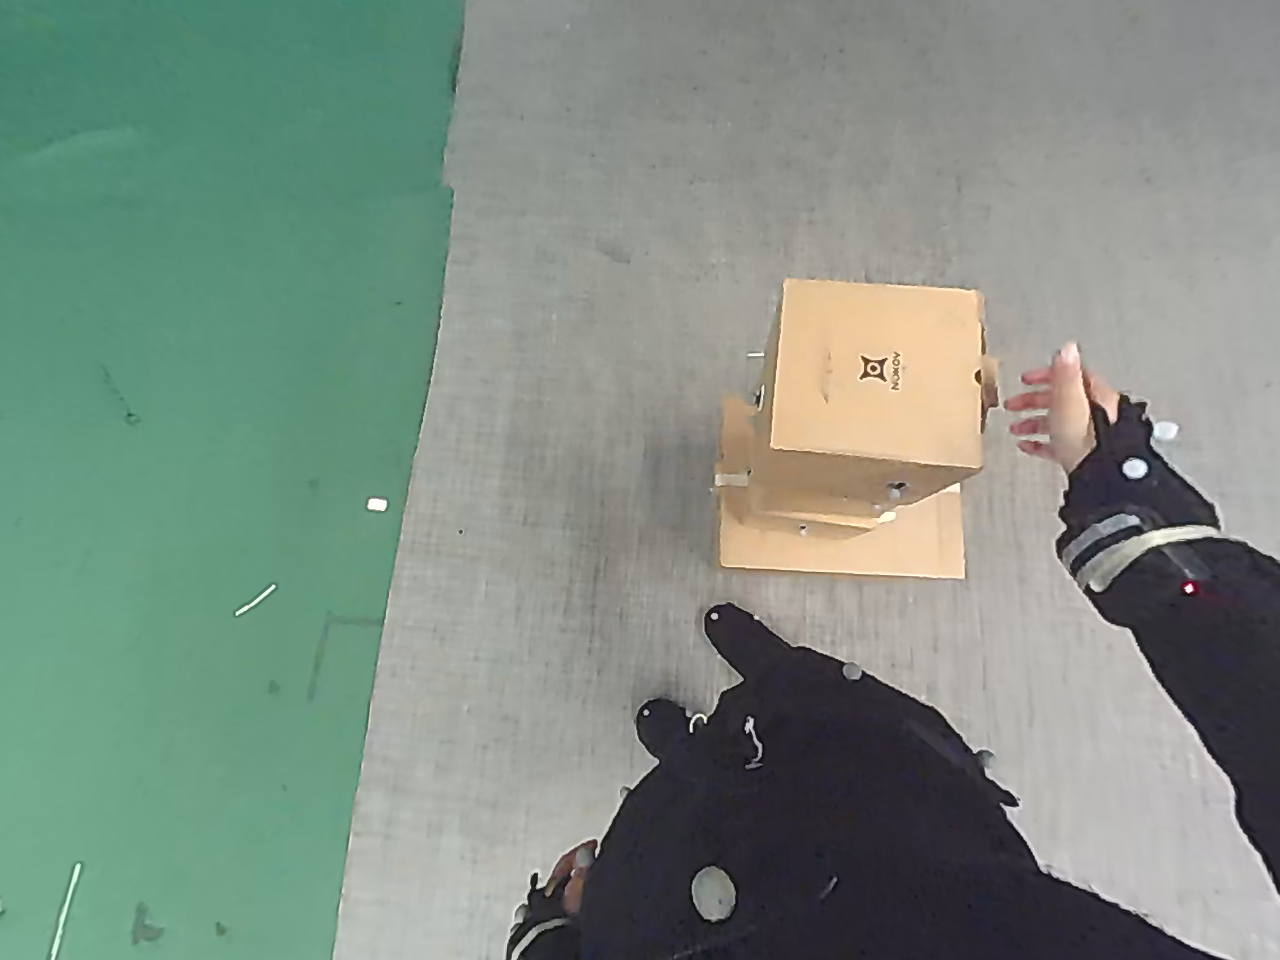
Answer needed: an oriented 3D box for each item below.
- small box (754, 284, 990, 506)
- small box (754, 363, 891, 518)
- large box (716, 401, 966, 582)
[{"bbox_3d":[0.218,-0.073,0.544,0.179,0.176,0.168,6,77,8],"label":"small box"},{"bbox_3d":[0.244,-0.046,0.703,0.179,0.176,0.168,3,78,7],"label":"small box"},{"bbox_3d":[0.363,0.040,1.090,0.408,0.320,0.320,2,79,5],"label":"large box"}]
